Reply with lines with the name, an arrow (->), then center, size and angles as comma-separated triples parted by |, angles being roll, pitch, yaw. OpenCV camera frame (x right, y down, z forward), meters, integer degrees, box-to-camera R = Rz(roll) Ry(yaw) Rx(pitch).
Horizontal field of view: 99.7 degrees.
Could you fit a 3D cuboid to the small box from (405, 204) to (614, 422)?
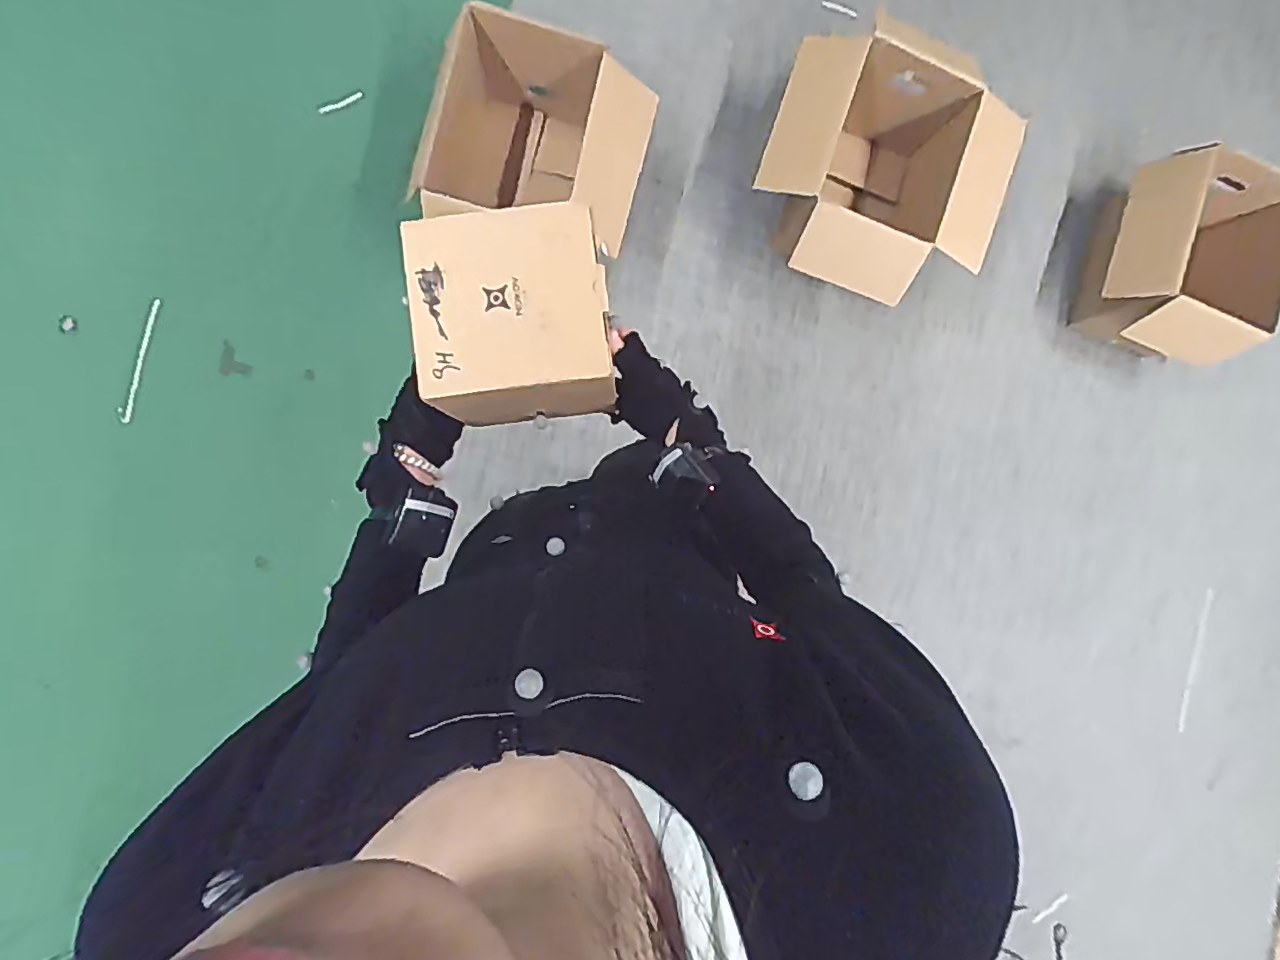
small box -> -0.124, -0.162, 0.572 | 0.179, 0.176, 0.168 | -7, 86, -3
